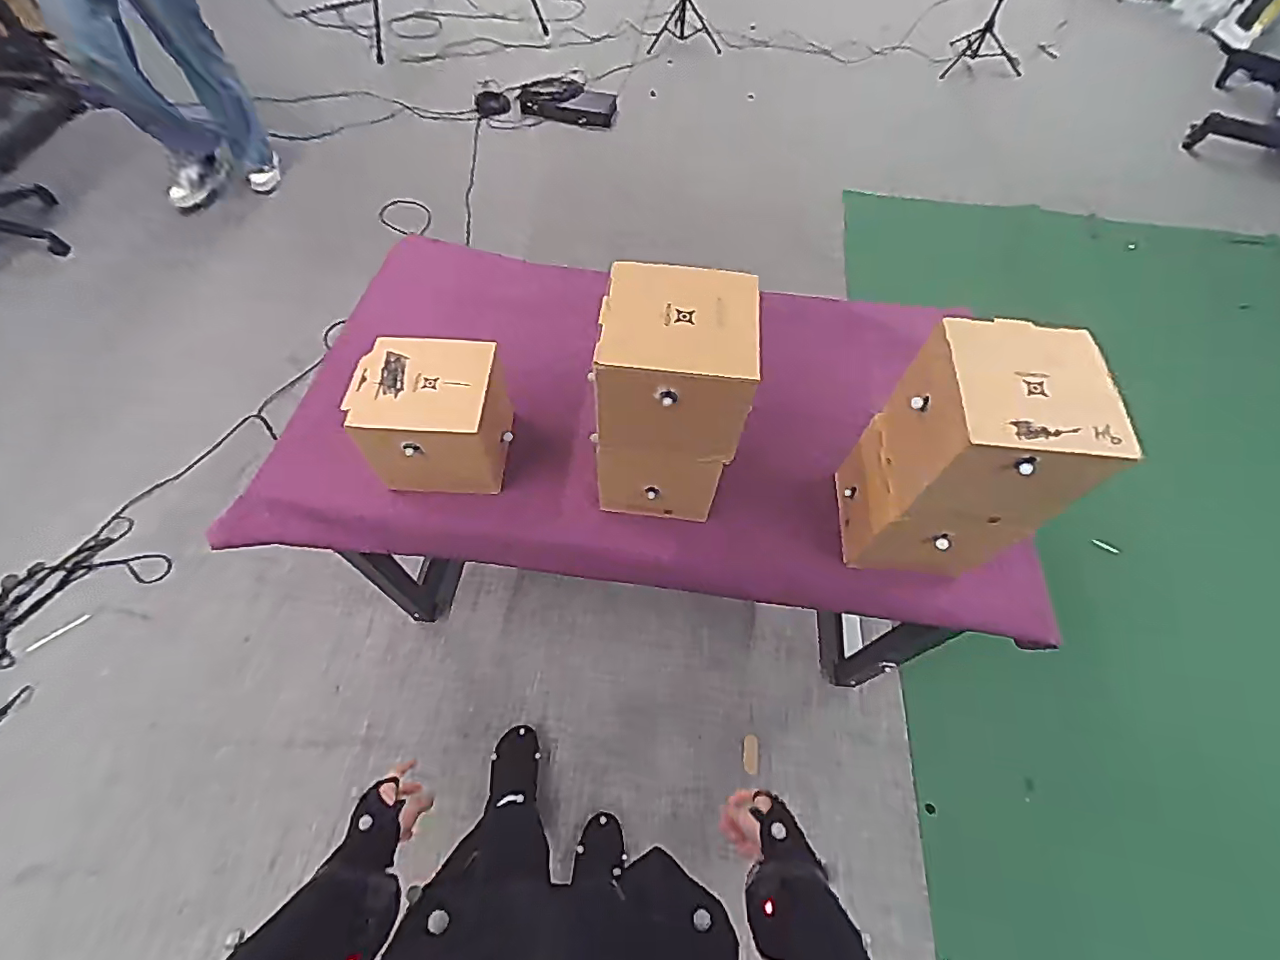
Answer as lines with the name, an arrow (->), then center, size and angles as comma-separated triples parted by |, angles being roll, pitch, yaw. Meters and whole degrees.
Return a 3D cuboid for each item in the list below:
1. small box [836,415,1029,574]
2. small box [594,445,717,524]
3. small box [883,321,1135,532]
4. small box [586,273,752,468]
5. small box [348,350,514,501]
small box -> 0.400, 0.027, 0.774 | 0.179, 0.176, 0.168 | 4, 60, 3
small box -> 0.030, -0.049, 0.814 | 0.168, 0.176, 0.179 | 6, 58, 2
small box -> 0.404, -0.059, 0.634 | 0.168, 0.176, 0.179 | 4, 59, 4
small box -> 0.037, -0.130, 0.672 | 0.179, 0.176, 0.168 | 6, 59, 2
small box -> -0.303, -0.078, 0.827 | 0.179, 0.176, 0.168 | 2, 59, -1
